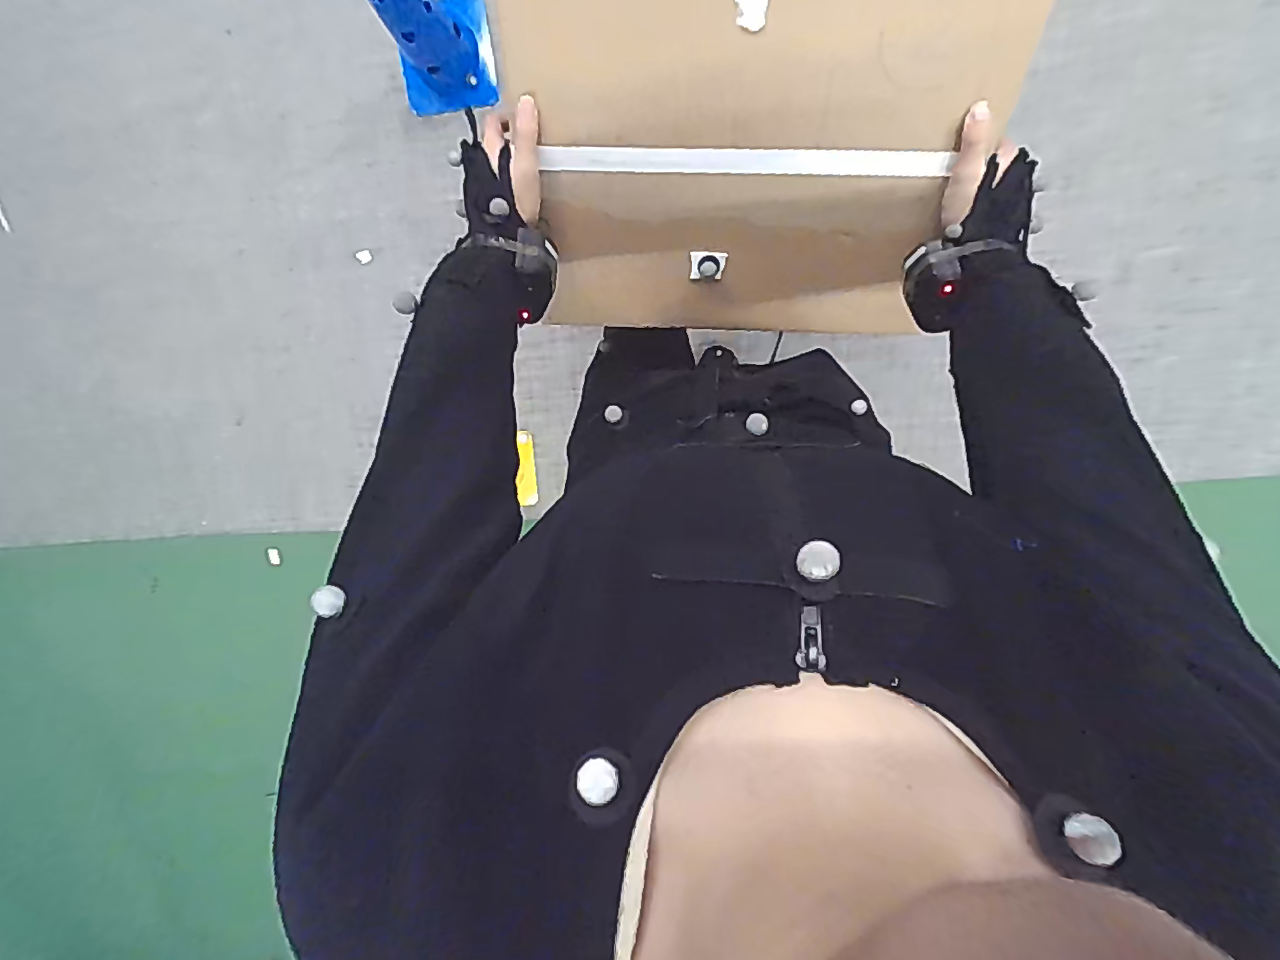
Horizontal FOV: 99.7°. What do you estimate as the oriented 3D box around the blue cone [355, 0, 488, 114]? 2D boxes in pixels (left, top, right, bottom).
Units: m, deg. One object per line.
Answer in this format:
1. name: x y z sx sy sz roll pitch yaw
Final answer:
1. blue cone: -0.430 -0.836 0.969 0.192 0.380 0.193 -3 106 7
